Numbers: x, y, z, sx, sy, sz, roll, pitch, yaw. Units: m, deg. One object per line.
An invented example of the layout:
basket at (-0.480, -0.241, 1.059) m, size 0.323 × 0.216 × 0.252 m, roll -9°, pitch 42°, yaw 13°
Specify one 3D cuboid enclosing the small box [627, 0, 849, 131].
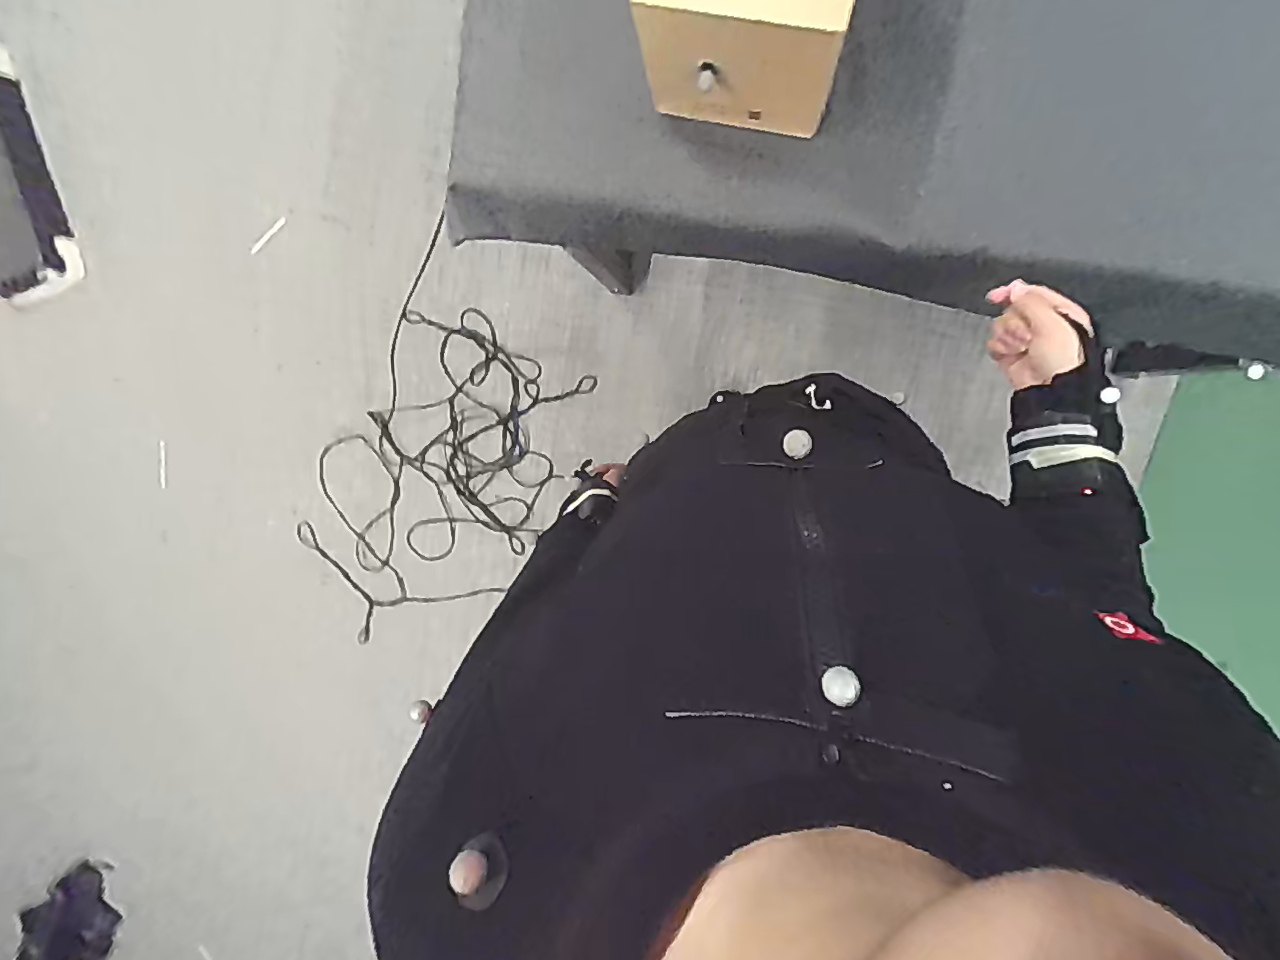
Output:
small box at (0.099, -0.436, 0.462) m, size 0.168 × 0.176 × 0.179 m, roll 14°, pitch 99°, yaw 8°
